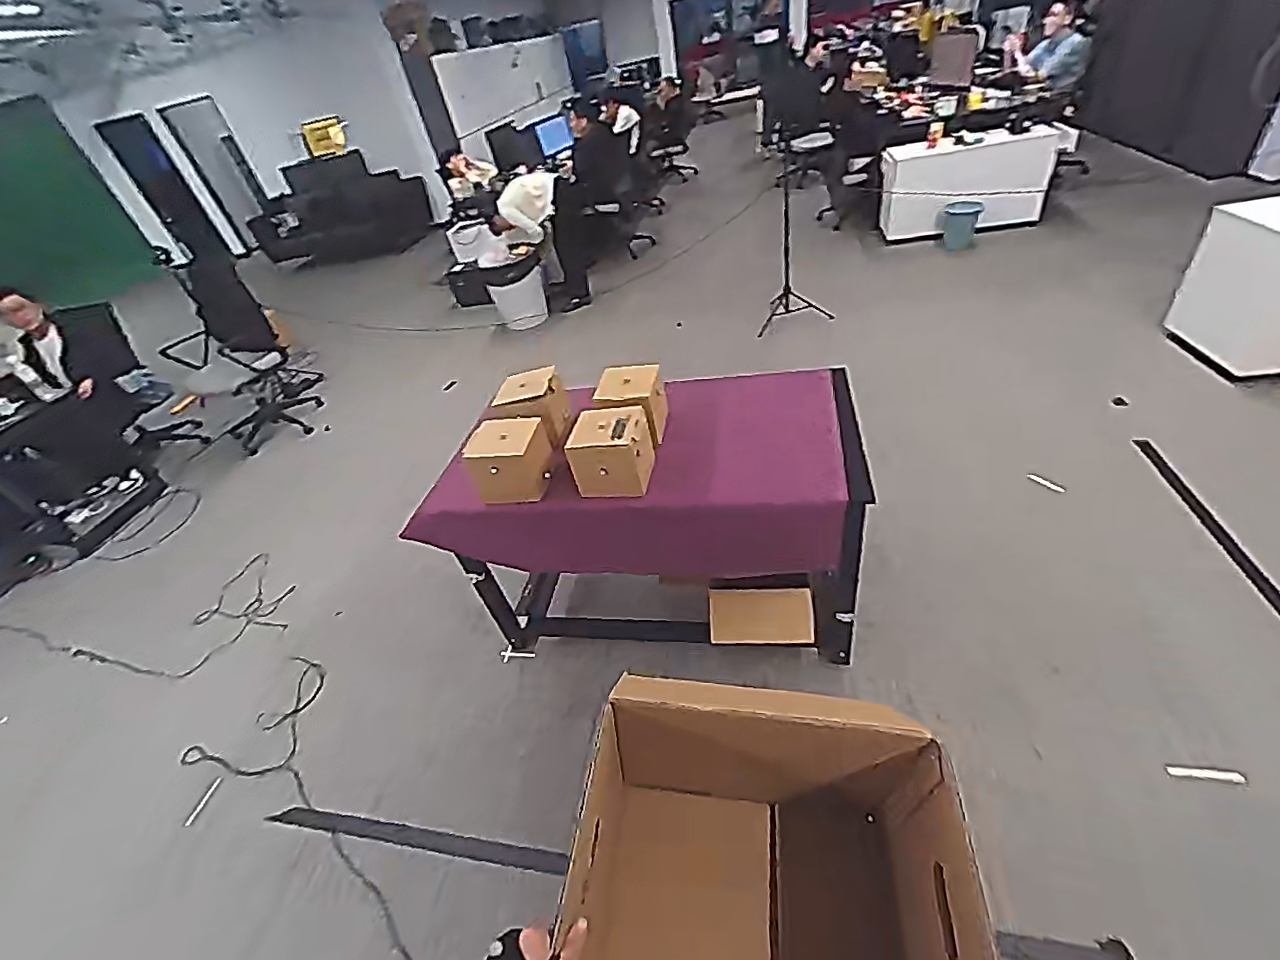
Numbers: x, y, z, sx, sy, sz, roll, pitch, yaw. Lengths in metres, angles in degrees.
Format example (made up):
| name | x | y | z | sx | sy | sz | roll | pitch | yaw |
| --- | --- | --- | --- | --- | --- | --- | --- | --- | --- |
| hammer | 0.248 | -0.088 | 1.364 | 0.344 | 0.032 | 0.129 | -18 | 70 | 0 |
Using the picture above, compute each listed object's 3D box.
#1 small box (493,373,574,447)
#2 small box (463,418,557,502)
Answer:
| name | x | y | z | sx | sy | sz | roll | pitch | yaw |
| --- | --- | --- | --- | --- | --- | --- | --- | --- | --- |
| small box | -0.321 | -0.210 | 1.662 | 0.179 | 0.176 | 0.168 | -2 | 41 | 12 |
| small box | -0.348 | -0.052 | 1.481 | 0.179 | 0.176 | 0.168 | -1 | 41 | 13 |
